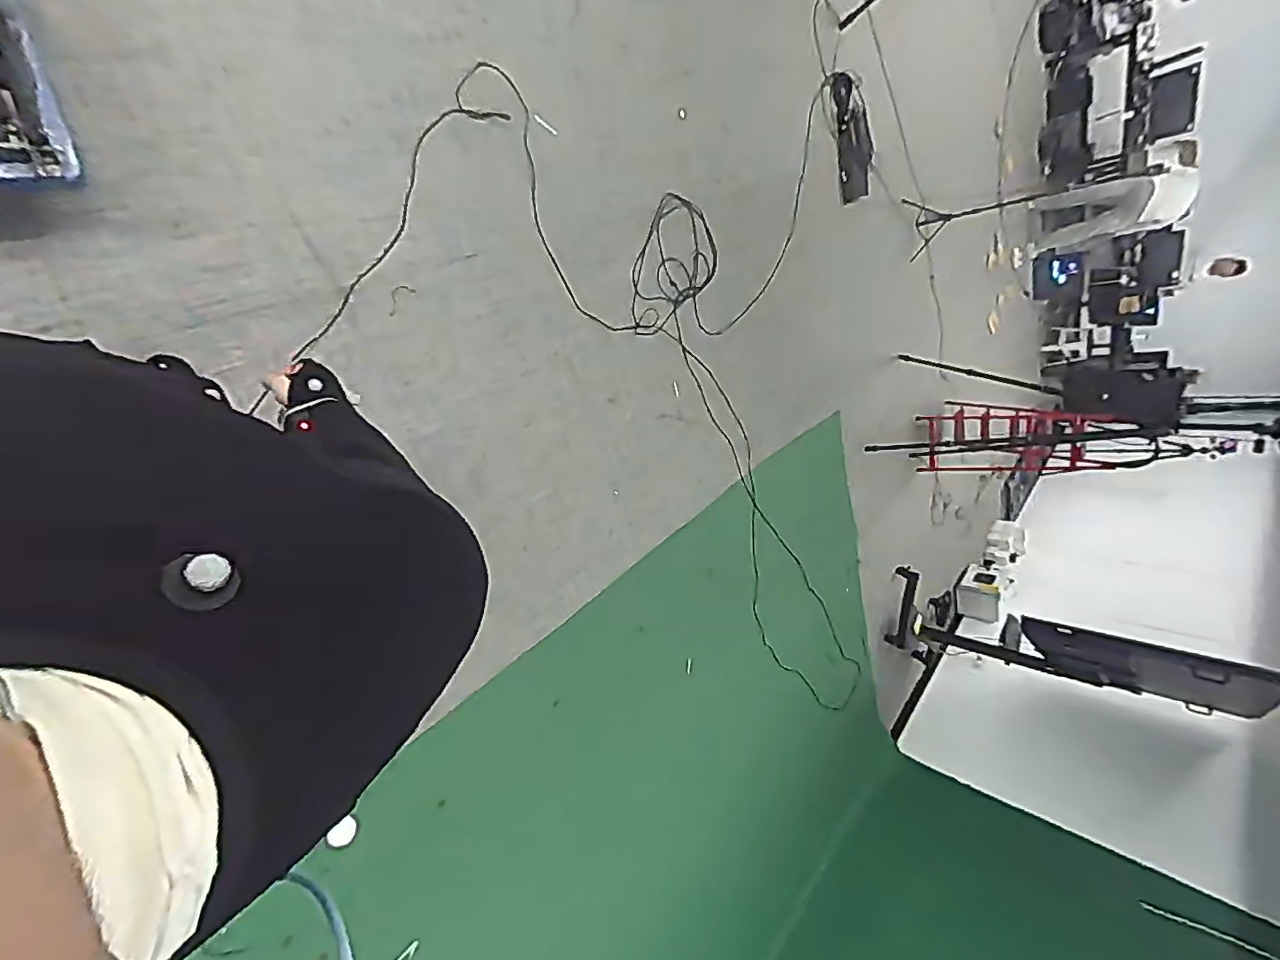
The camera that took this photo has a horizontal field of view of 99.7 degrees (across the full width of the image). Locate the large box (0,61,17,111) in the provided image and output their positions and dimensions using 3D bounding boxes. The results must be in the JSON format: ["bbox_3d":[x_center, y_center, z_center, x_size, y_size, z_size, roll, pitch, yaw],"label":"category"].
[{"bbox_3d":[-1.124,-0.753,0.680,0.320,0.320,0.408,-25,113,-39],"label":"large box"}]
